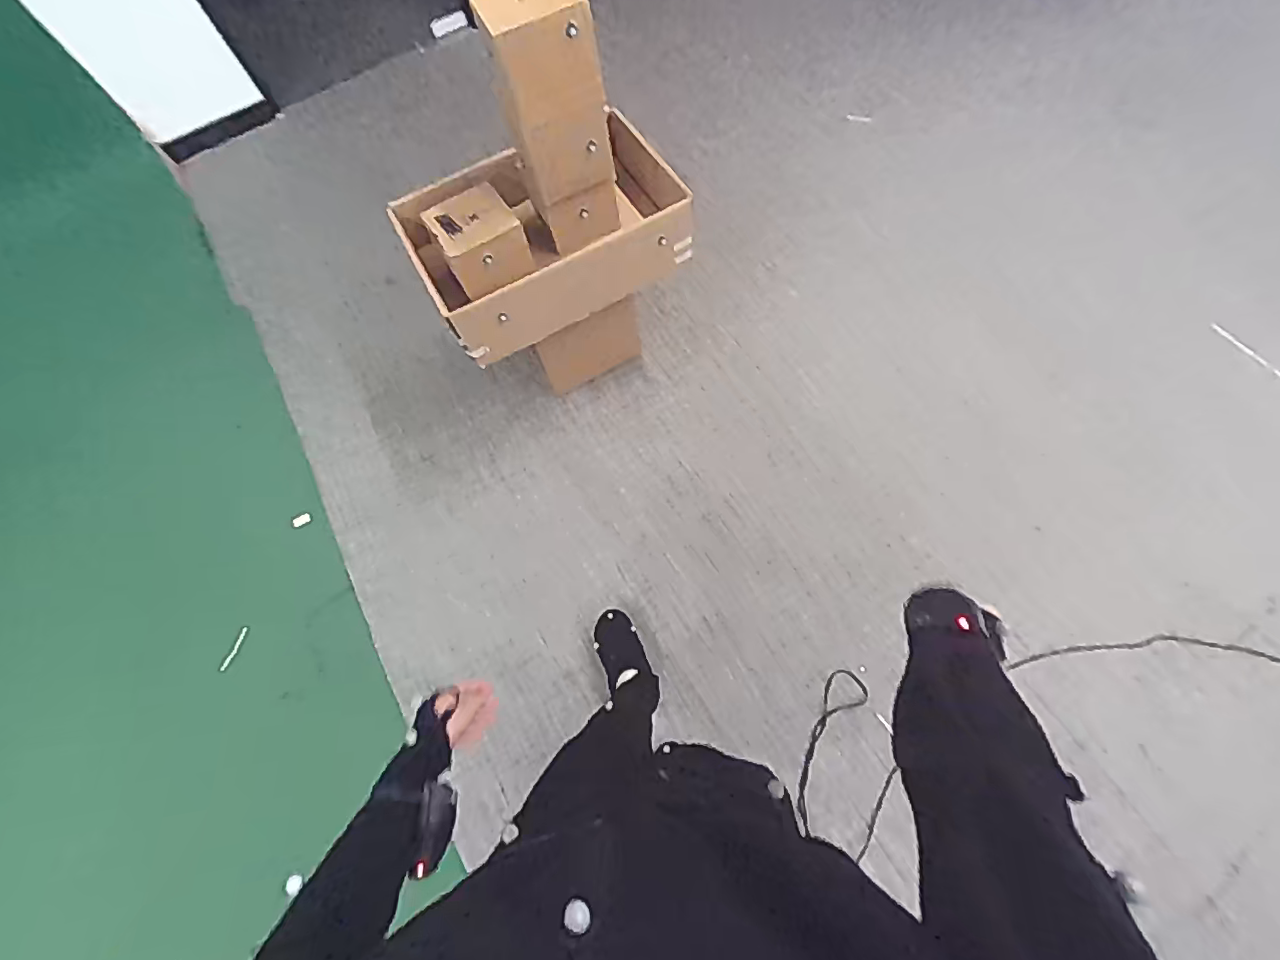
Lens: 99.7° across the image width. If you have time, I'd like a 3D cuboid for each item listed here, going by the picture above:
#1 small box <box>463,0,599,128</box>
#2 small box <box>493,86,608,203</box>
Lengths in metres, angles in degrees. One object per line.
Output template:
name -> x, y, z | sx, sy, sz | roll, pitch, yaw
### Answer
small box -> -0.194, -0.795, 0.996 | 0.179, 0.176, 0.168 | -25, 67, -4
small box -> -0.179, -0.734, 1.144 | 0.179, 0.176, 0.168 | -27, 68, -3
